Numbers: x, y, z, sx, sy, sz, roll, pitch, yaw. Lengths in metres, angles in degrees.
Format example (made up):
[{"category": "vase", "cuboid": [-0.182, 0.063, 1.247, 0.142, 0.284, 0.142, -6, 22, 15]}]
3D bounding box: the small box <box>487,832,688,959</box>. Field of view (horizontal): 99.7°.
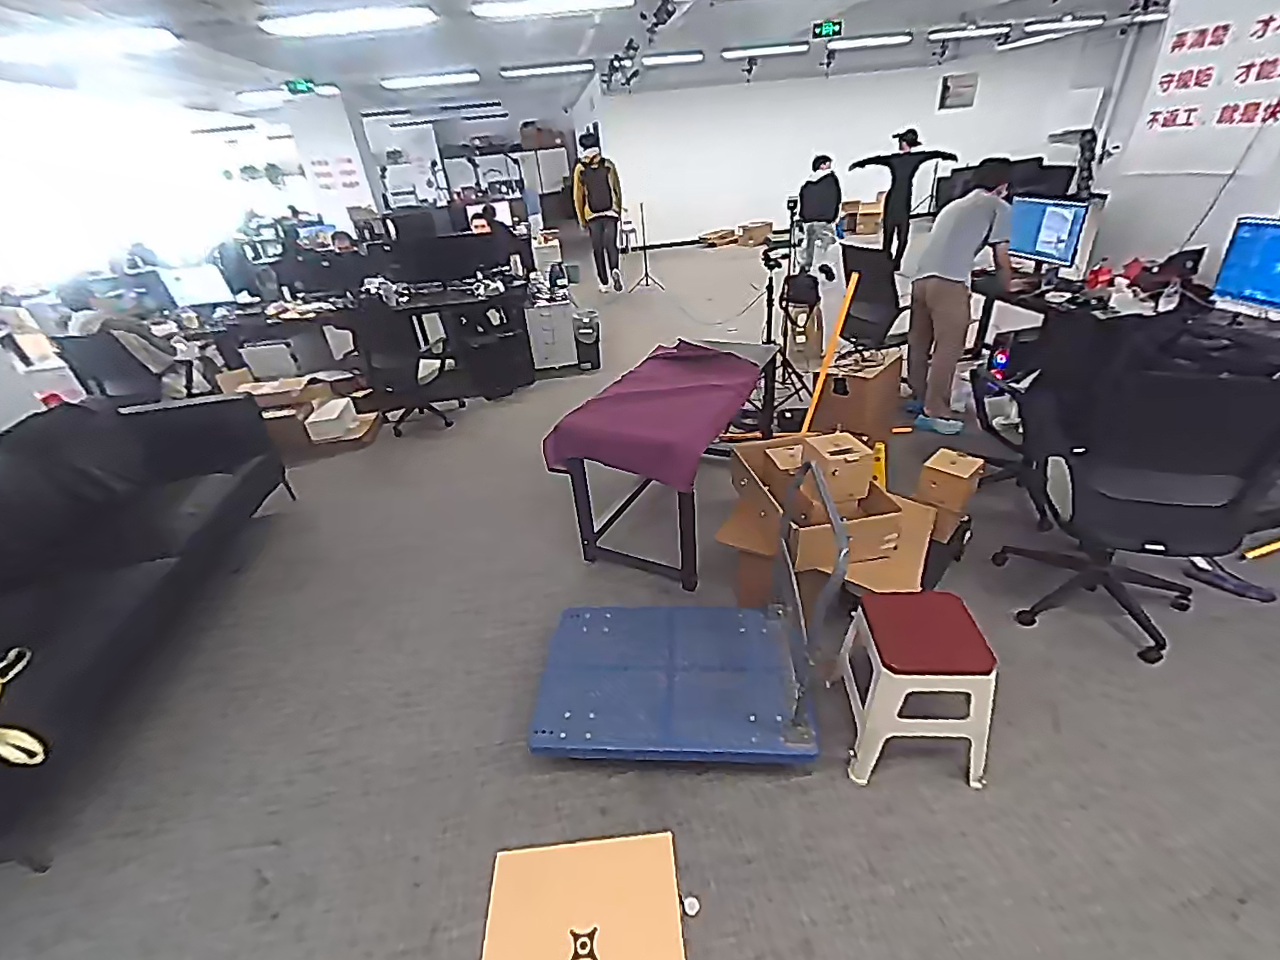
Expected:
[{"category": "small box", "cuboid": [-0.039, 0.455, 0.484, 0.168, 0.176, 0.179, -6, 33, 0]}]
